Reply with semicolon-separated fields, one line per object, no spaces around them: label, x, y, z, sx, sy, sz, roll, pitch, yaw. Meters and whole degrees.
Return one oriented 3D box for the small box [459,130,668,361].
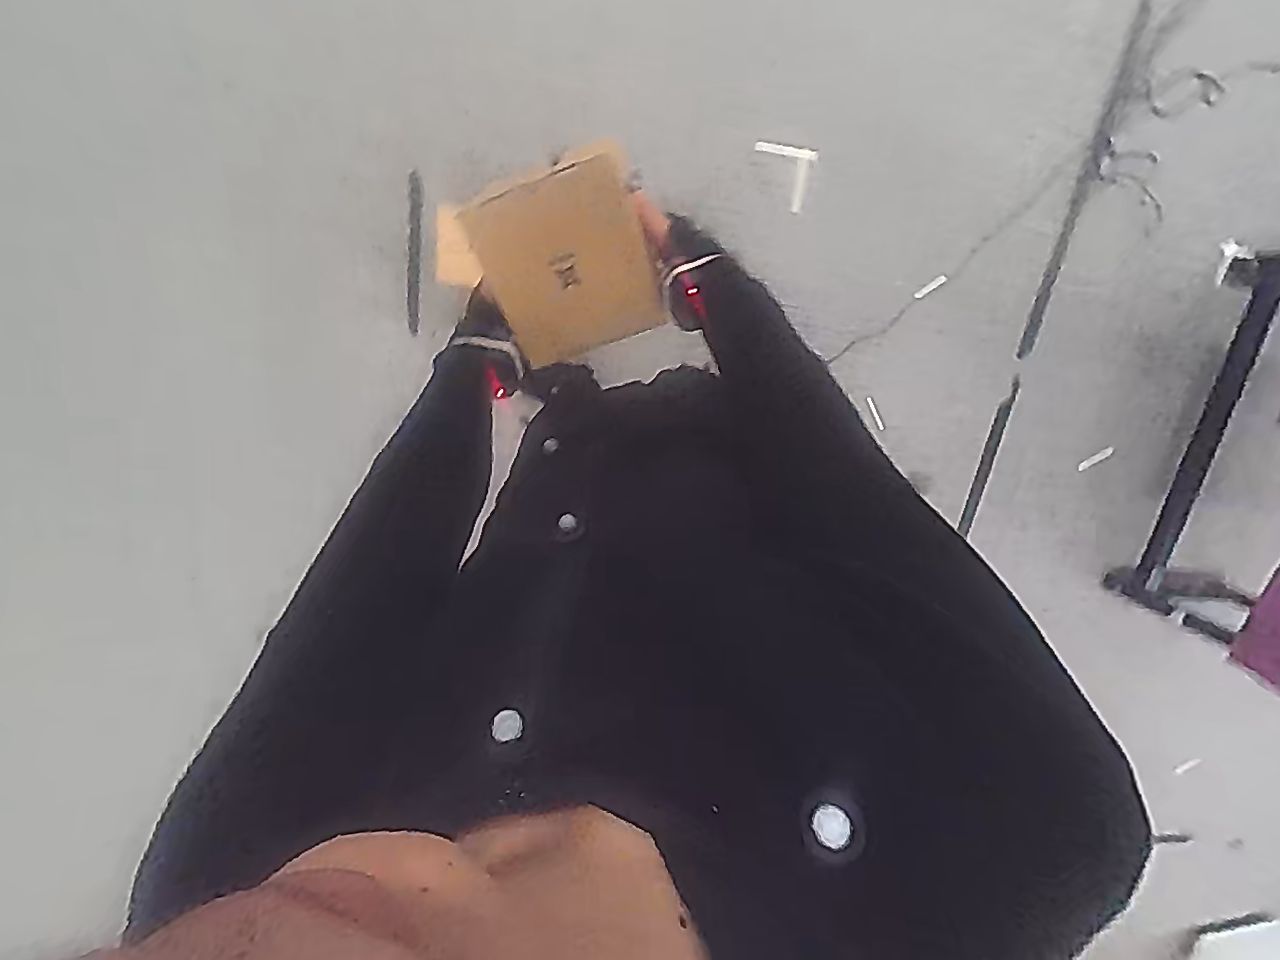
small box;-0.070;-0.267;0.613;0.168;0.176;0.179;-16;125;12
